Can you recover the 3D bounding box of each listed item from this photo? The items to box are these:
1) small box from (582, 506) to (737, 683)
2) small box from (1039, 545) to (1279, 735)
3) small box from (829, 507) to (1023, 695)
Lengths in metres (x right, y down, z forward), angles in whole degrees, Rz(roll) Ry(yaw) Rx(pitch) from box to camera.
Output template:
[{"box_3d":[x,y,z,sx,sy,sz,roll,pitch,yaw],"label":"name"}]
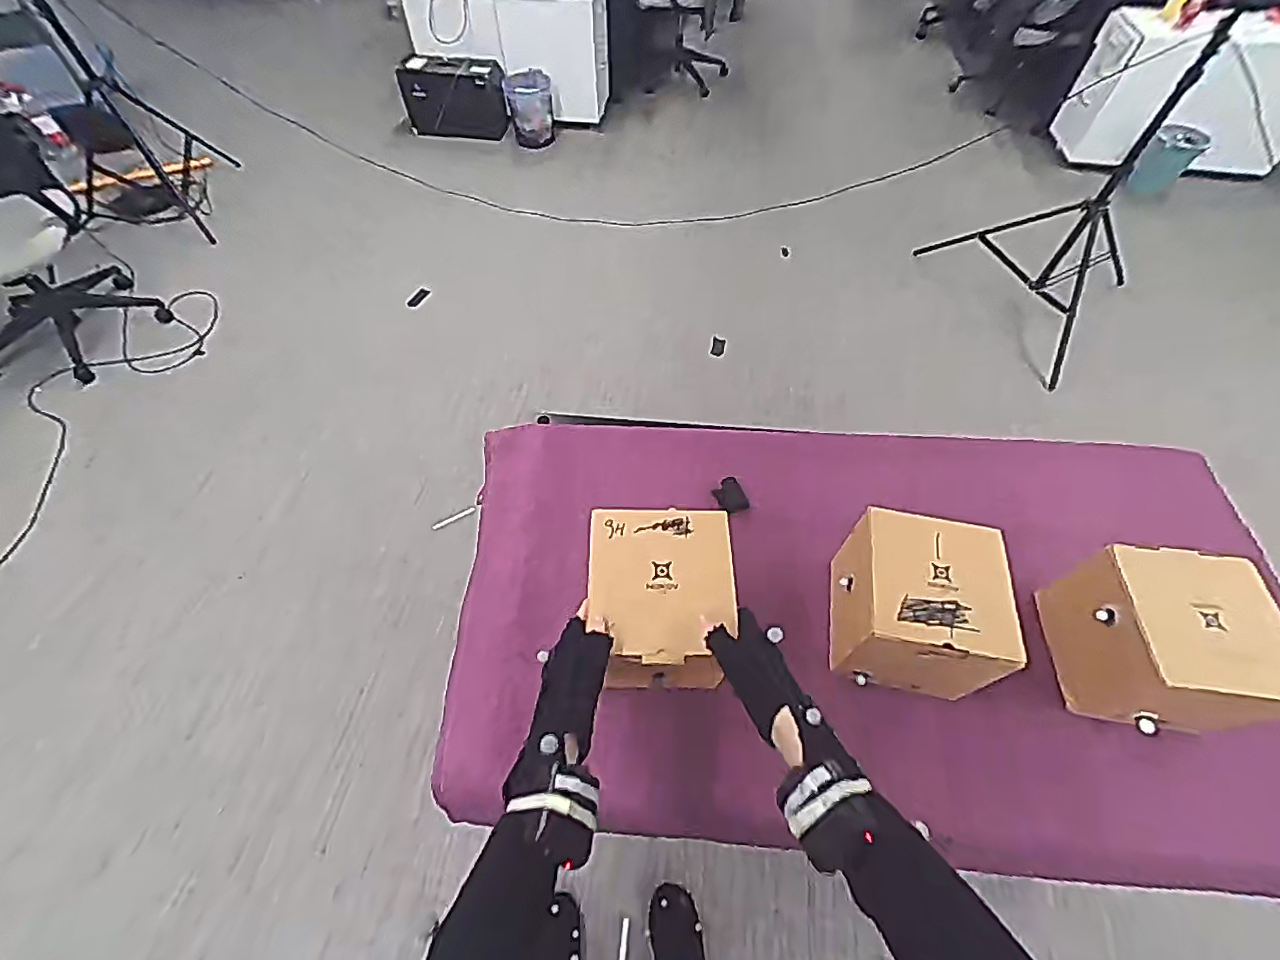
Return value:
[{"box_3d":[0.021,0.148,0.670,0.168,0.176,0.179,2,60,-2],"label":"small box"},{"box_3d":[0.656,0.207,0.689,0.168,0.176,0.179,6,56,5],"label":"small box"},{"box_3d":[0.357,0.165,0.712,0.168,0.176,0.179,11,55,6],"label":"small box"}]
